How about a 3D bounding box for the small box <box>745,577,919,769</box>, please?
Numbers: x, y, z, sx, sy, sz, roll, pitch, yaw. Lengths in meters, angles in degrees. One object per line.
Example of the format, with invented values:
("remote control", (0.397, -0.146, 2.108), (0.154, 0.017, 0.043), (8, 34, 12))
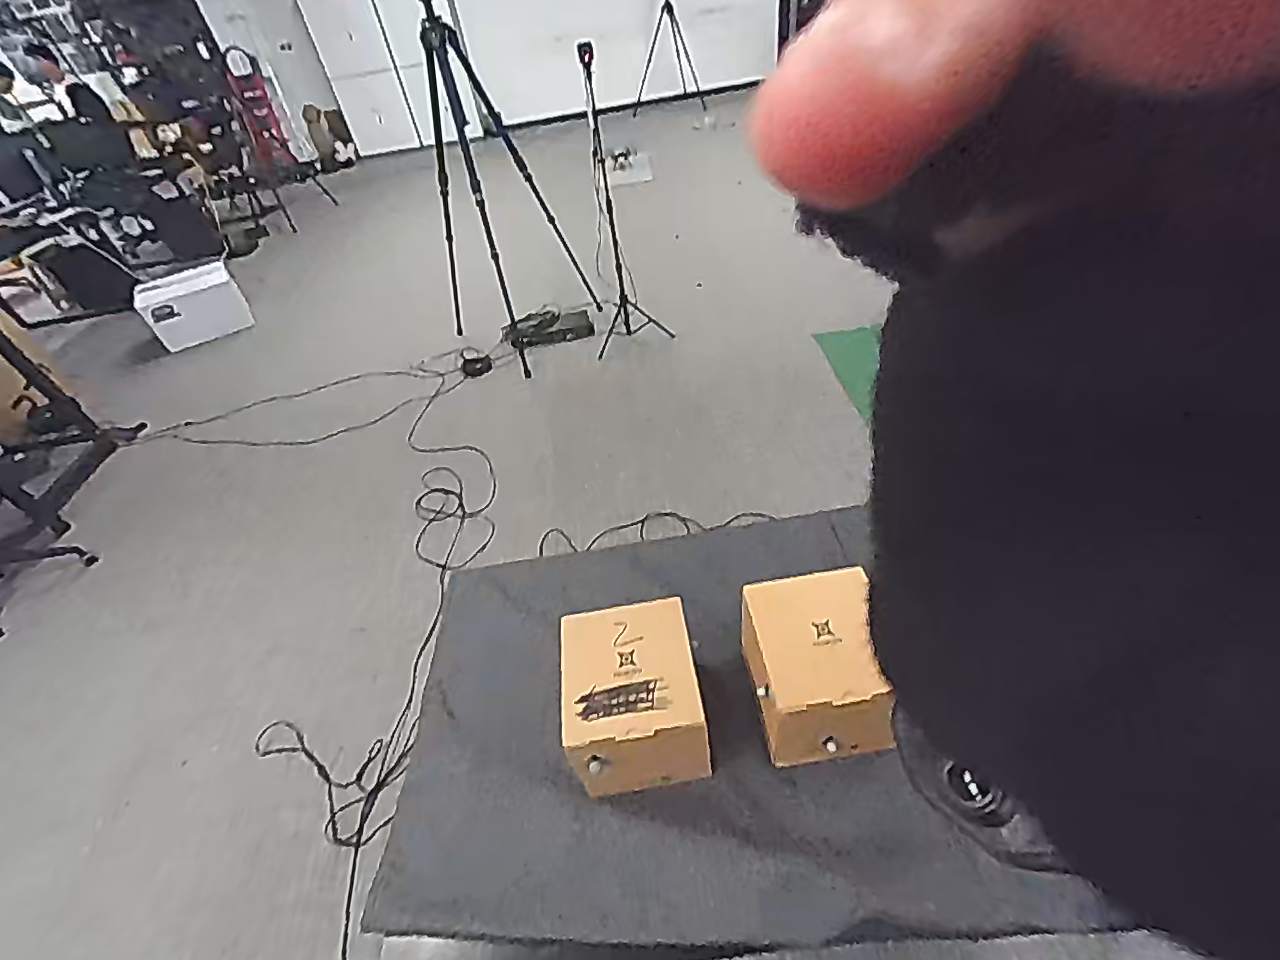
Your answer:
("small box", (0.241, 0.261, 0.734), (0.168, 0.176, 0.179), (-10, 43, 0))
